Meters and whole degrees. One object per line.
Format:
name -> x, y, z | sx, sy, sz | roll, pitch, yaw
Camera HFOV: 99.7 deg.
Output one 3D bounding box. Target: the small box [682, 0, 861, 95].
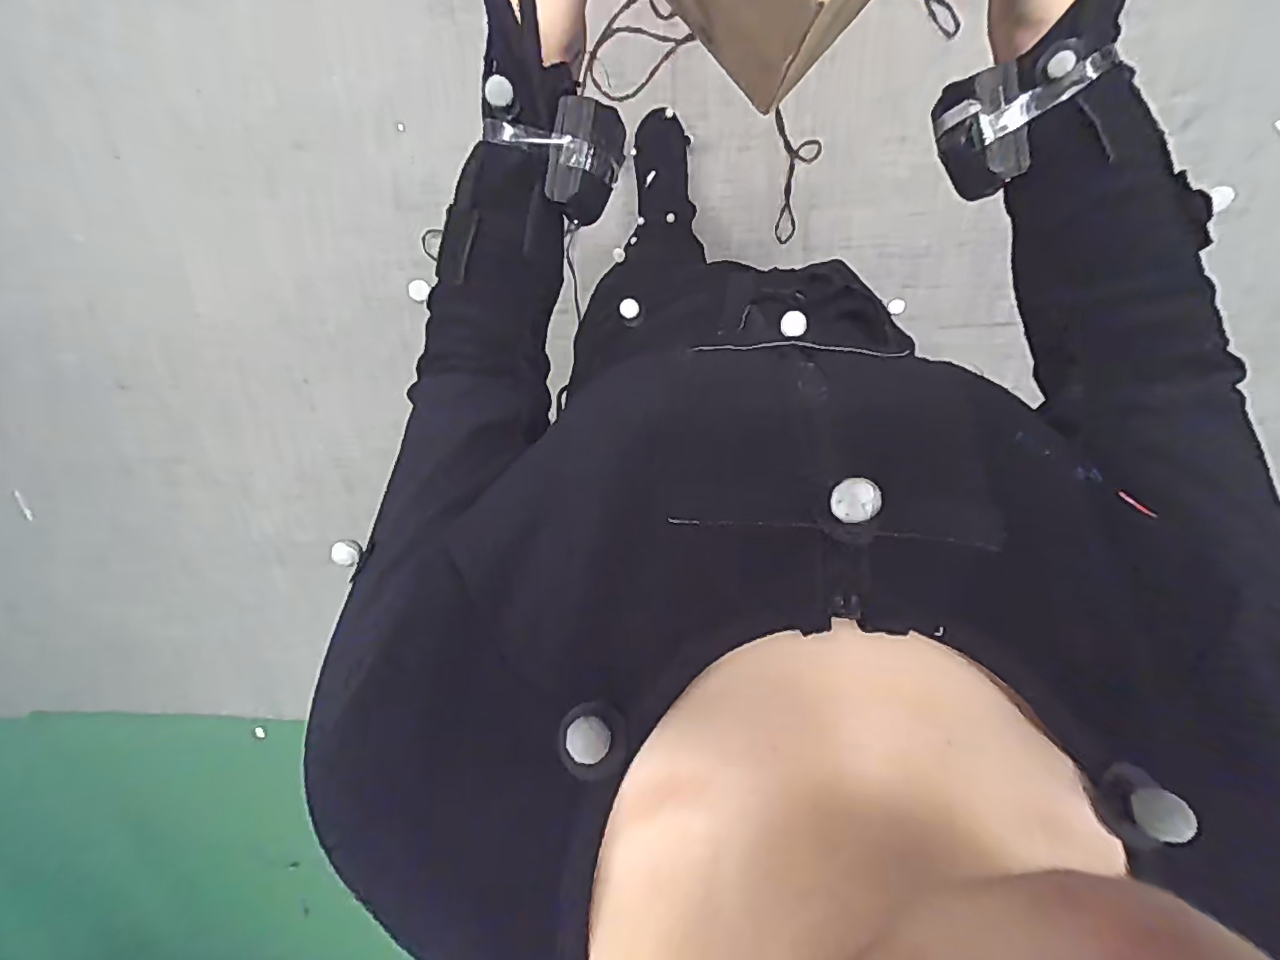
small box -> 0.079, -0.337, 0.259 | 0.168, 0.176, 0.179 | 43, 108, -10
